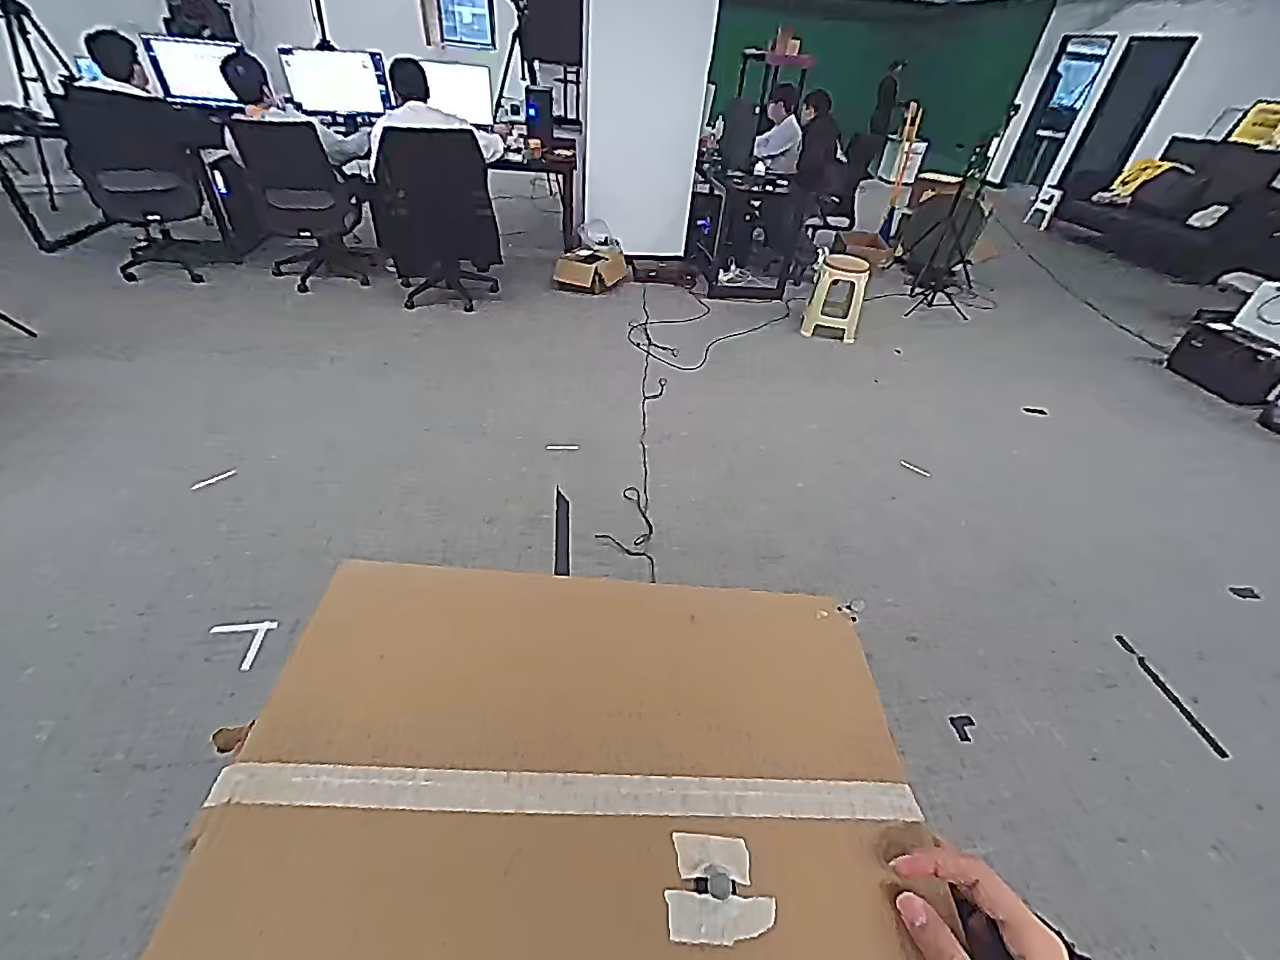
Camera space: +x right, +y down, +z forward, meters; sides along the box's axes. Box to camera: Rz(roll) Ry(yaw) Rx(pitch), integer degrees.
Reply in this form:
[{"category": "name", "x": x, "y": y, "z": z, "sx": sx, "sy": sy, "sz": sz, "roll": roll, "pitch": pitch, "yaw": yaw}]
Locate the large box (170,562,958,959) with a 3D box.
[{"category": "large box", "x": -0.048, "y": 0.294, "z": 0.432, "sx": 0.408, "sy": 0.320, "sz": 0.320, "roll": 7, "pitch": 44, "yaw": -7}]
